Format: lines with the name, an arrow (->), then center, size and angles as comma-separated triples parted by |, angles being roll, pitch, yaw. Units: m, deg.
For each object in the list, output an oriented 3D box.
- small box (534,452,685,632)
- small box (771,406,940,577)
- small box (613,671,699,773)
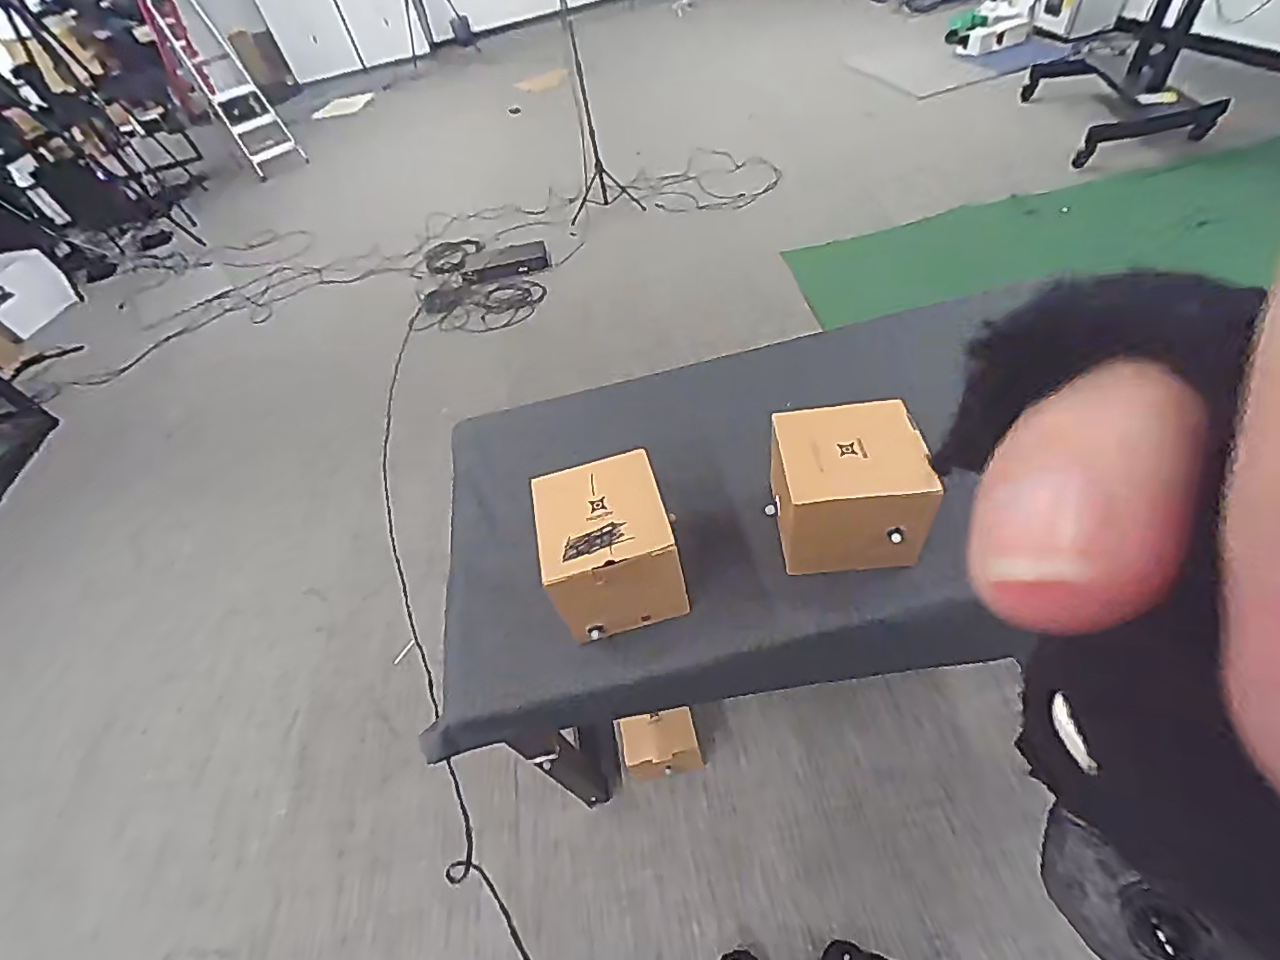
small box -> -0.040, 0.094, 0.757 | 0.168, 0.176, 0.179 | -15, 47, -1
small box -> 0.282, 0.021, 0.756 | 0.179, 0.176, 0.168 | -7, 48, 8
small box -> 0.041, 0.586, 1.295 | 0.168, 0.176, 0.179 | -14, 50, 0
